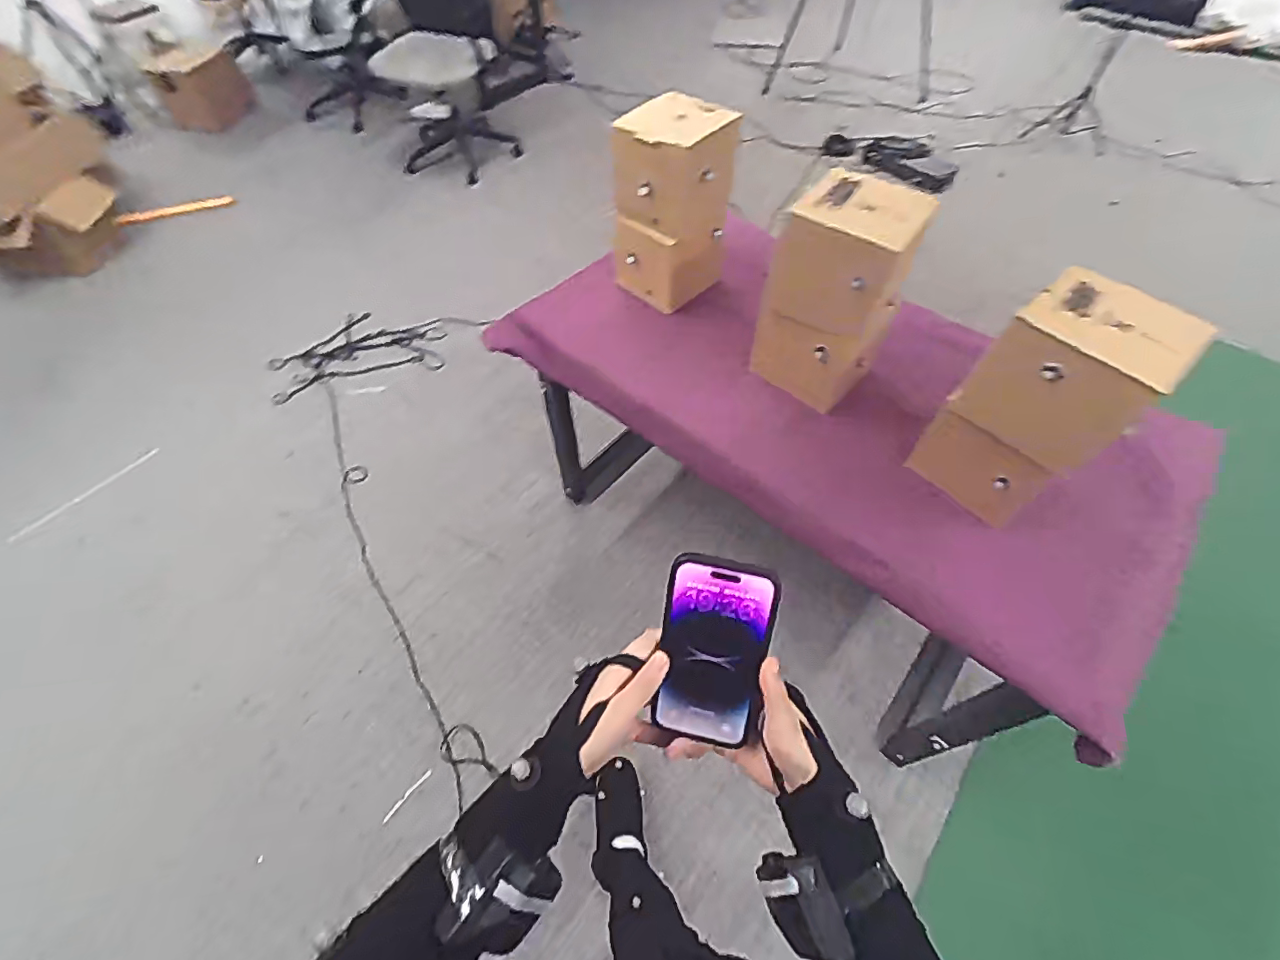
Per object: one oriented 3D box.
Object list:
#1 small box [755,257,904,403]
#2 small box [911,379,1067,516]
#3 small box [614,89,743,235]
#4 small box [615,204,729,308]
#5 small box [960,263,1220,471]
[{"bbox_3d":[0.337,-0.268,0.994,0.179,0.176,0.168,38,63,23],"label":"small box"},{"bbox_3d":[0.575,-0.066,0.856,0.168,0.176,0.179,-35,61,-22],"label":"small box"},{"bbox_3d":[0.072,-0.598,1.024,0.168,0.176,0.179,34,63,20],"label":"small box"},{"bbox_3d":[0.068,-0.500,1.156,0.168,0.176,0.179,38,64,23],"label":"small box"},{"bbox_3d":[0.570,-0.145,0.711,0.168,0.176,0.179,-35,63,-22],"label":"small box"}]
